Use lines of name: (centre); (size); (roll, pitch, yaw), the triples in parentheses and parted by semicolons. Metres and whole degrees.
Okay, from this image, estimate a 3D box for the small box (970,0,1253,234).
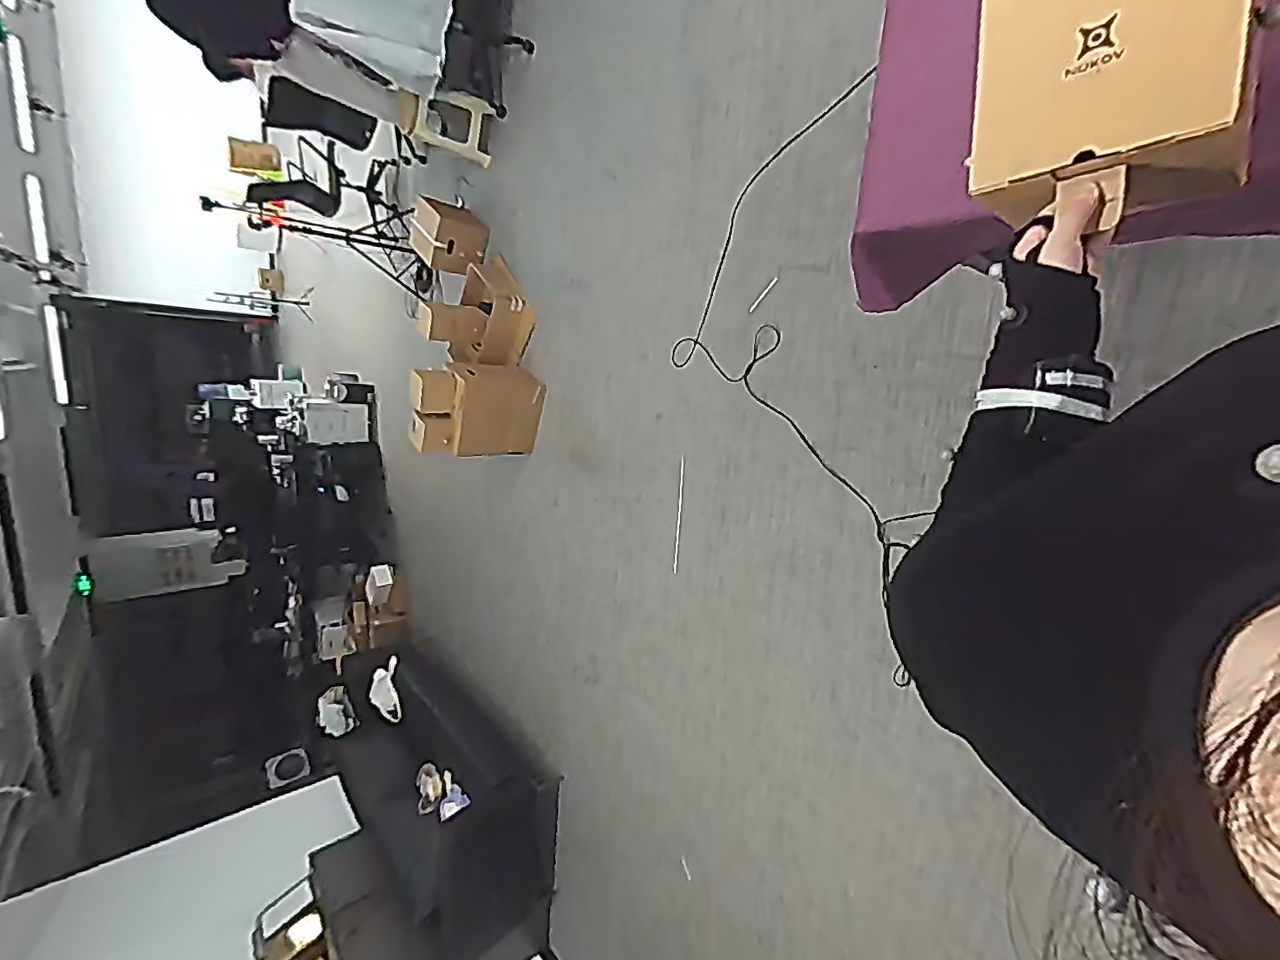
small box: (0.423, -0.346, 0.489); (0.168, 0.176, 0.179); (8, 101, 48)
